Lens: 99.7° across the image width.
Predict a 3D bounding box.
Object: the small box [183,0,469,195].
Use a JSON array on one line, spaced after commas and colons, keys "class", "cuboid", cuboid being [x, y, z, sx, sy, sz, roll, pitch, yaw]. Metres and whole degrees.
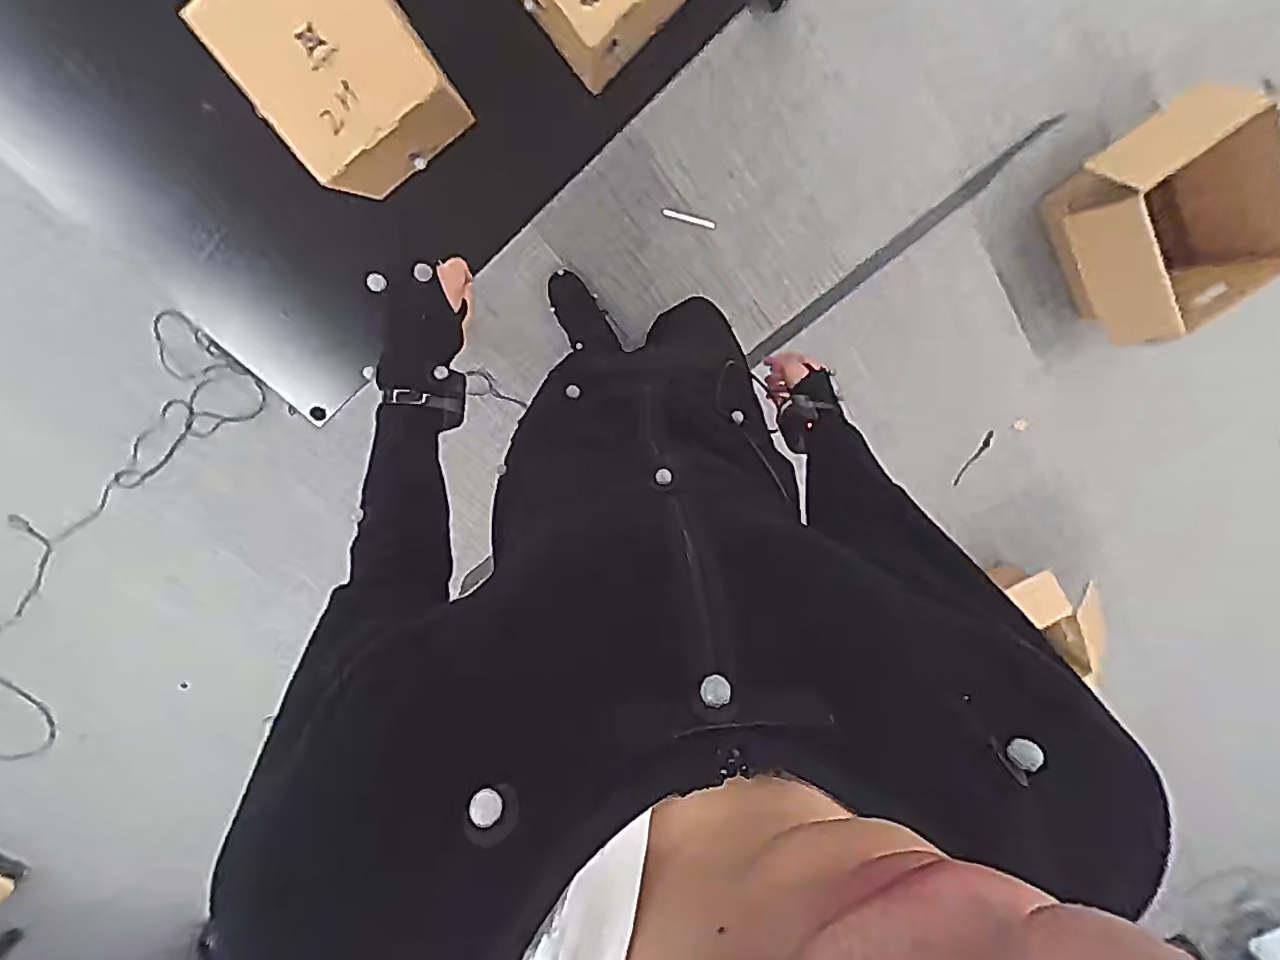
[{"class": "small box", "cuboid": [-0.319, -0.444, 0.592, 0.168, 0.176, 0.179, -33, 112, 9]}]
